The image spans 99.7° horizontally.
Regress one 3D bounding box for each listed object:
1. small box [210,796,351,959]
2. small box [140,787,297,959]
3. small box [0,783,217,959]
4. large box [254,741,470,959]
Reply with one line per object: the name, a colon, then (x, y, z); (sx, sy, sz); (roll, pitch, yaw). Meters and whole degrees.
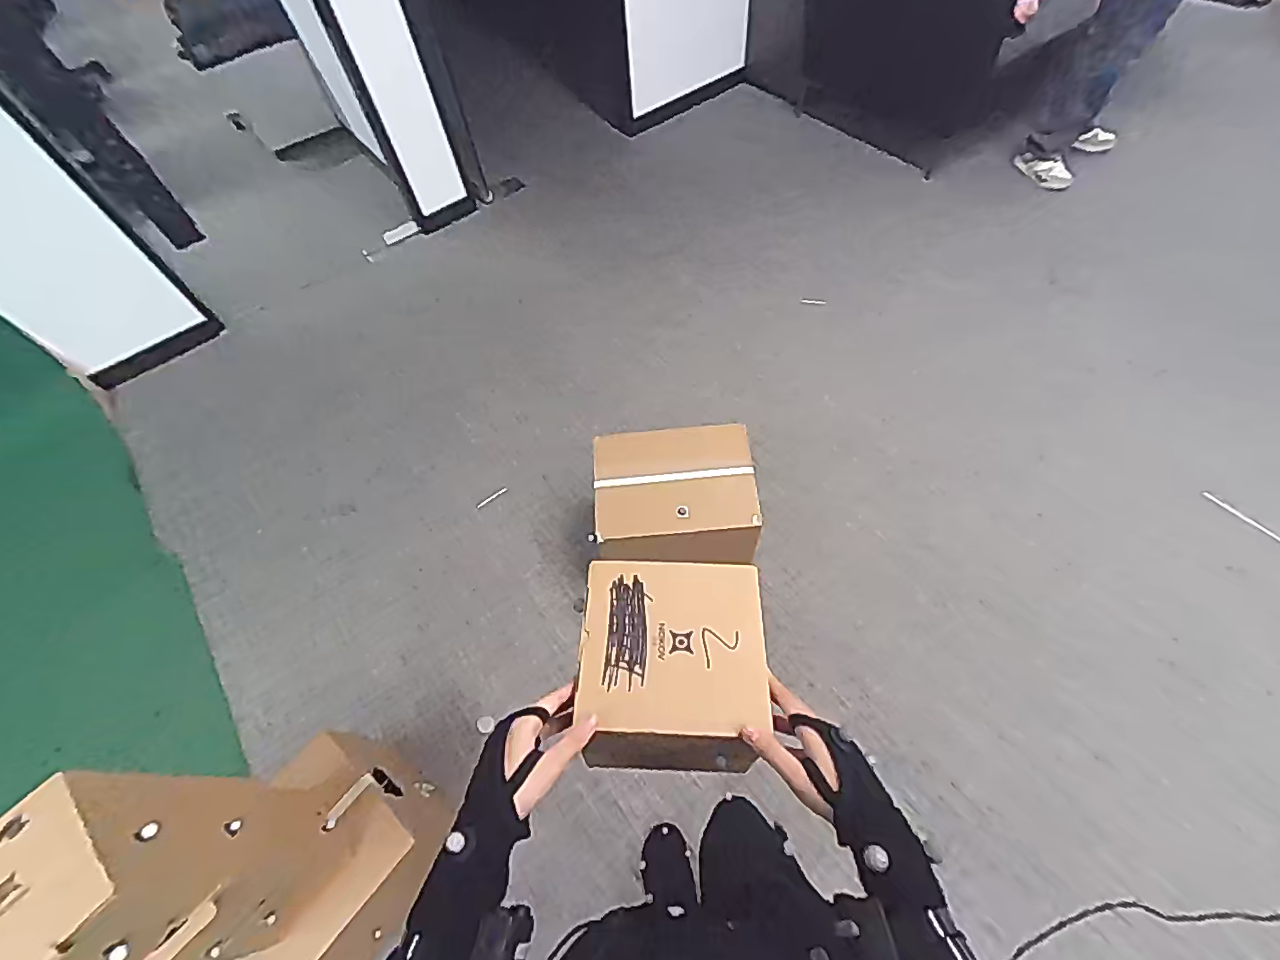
small box: (-0.635, 0.669, 0.909); (0.168, 0.176, 0.179); (36, 67, 22)
small box: (-0.642, 0.573, 0.776); (0.179, 0.176, 0.168); (38, 68, 23)
small box: (-0.658, 0.488, 0.636); (0.179, 0.176, 0.168); (37, 67, 22)
large box: (-0.634, 0.818, 1.105); (0.320, 0.320, 0.408); (32, 67, 23)
